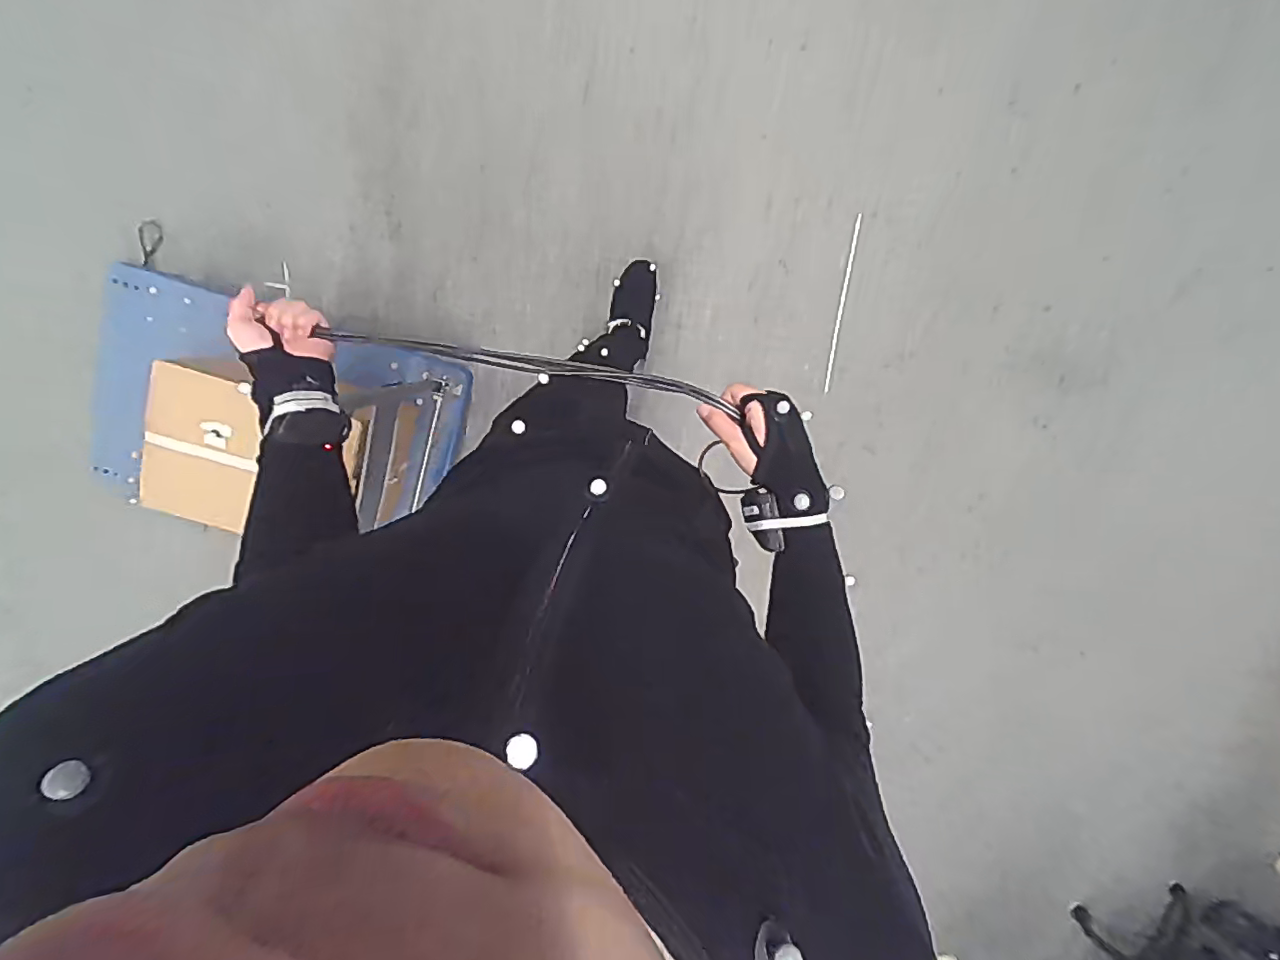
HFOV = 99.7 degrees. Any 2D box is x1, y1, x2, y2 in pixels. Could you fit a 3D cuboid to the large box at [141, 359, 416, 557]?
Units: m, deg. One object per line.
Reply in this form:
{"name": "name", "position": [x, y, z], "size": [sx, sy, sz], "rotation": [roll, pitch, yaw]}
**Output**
{"name": "large box", "position": [-0.788, -0.067, 1.231], "size": [0.408, 0.320, 0.320], "rotation": [17, 102, -5]}
